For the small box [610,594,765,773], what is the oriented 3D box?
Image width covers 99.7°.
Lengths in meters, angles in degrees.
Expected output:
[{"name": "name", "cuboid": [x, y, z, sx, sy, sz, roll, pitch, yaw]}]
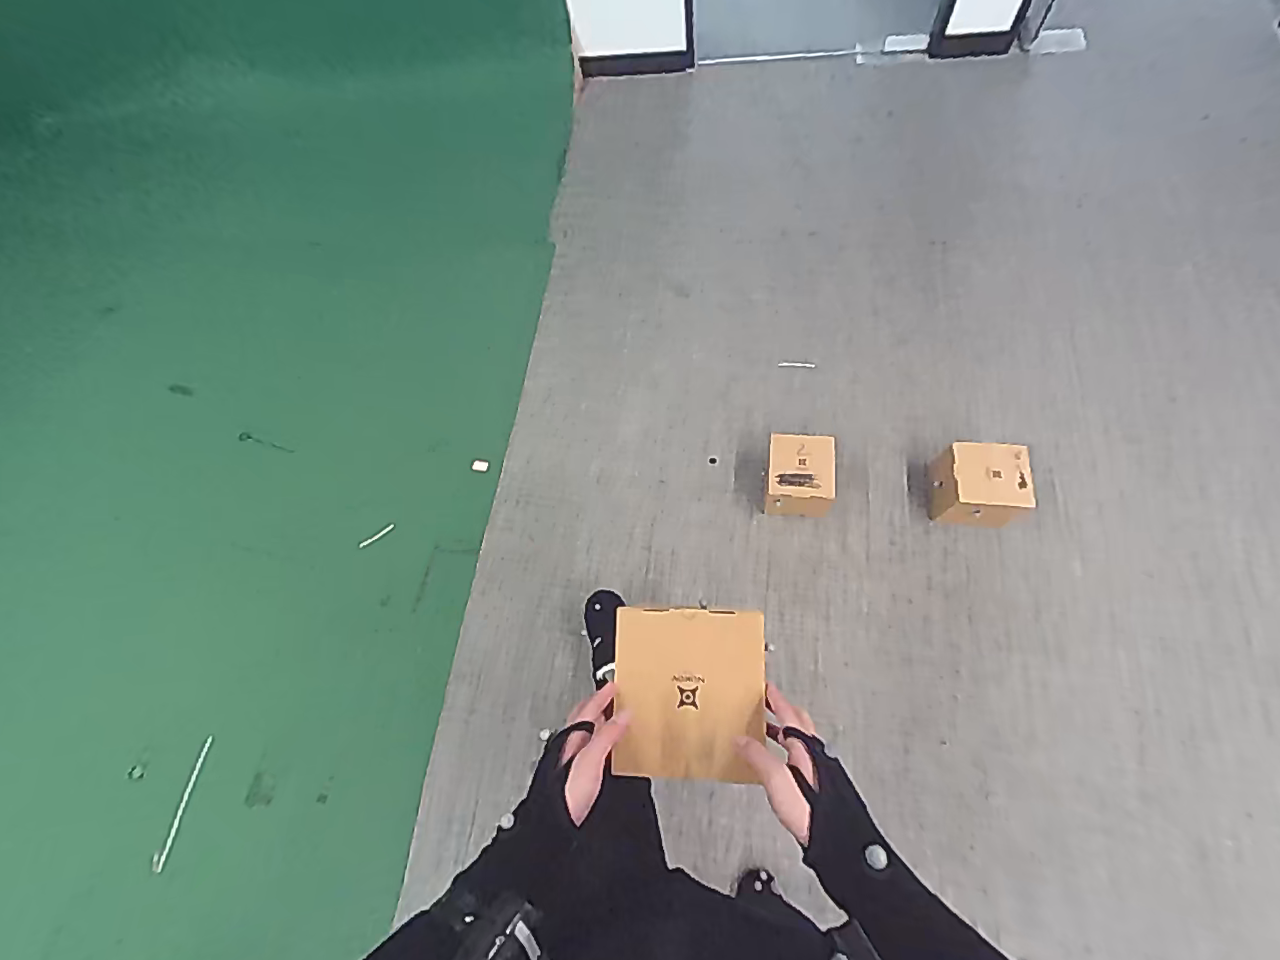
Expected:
[{"name": "small box", "cuboid": [0.064, 0.231, 0.655, 0.168, 0.176, 0.179, 0, 77, 8]}]

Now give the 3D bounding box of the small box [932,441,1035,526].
[{"name": "small box", "cuboid": [0.870, 0.013, 1.391, 0.179, 0.176, 0.168, 4, 69, 9]}]
